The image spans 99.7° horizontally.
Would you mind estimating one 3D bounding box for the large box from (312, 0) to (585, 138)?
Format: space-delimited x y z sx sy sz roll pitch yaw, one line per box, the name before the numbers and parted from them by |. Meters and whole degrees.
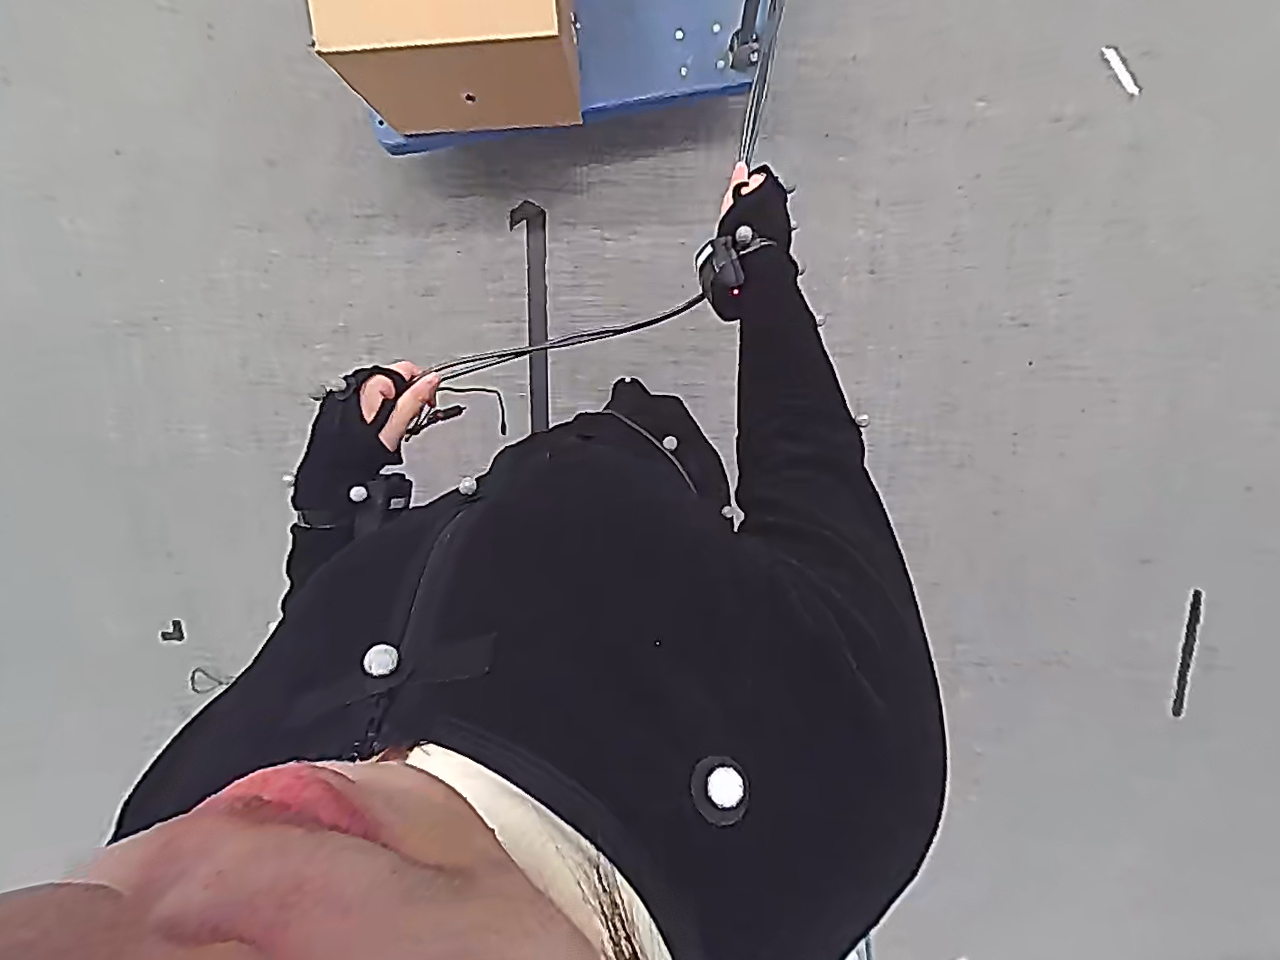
large box | -0.329 -0.873 0.998 0.408 0.320 0.320 -3 100 2
